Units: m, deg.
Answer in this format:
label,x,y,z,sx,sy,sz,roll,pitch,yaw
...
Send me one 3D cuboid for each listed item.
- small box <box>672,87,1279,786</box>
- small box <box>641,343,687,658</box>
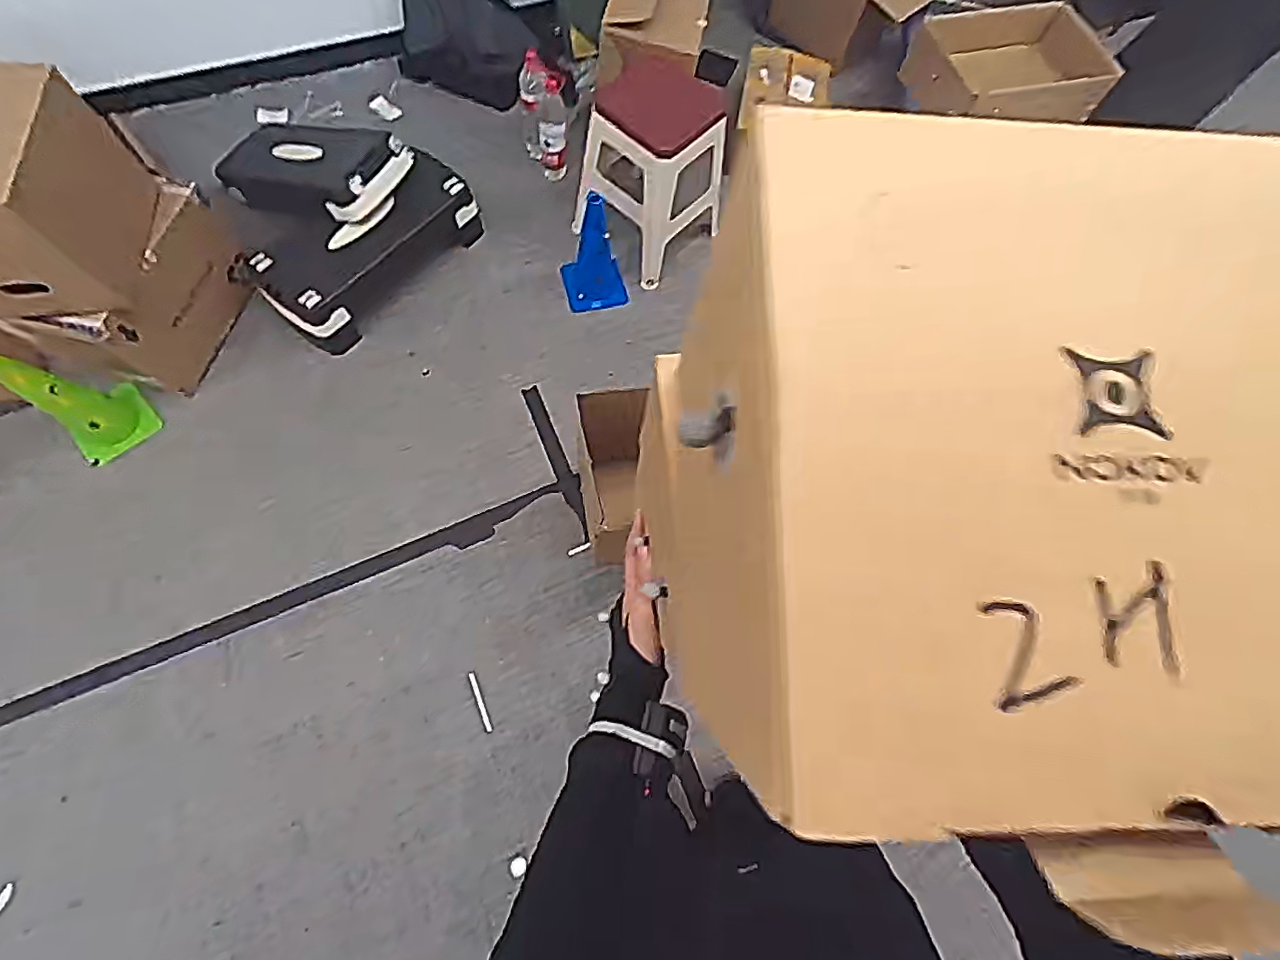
label,x,y,z,sx,sy,sz,roll,pitch,yaw
small box,0.102,-0.003,0.211,0.168,0.176,0.179,1,79,-2
small box,0.091,0.017,0.375,0.168,0.176,0.179,-5,78,-4
